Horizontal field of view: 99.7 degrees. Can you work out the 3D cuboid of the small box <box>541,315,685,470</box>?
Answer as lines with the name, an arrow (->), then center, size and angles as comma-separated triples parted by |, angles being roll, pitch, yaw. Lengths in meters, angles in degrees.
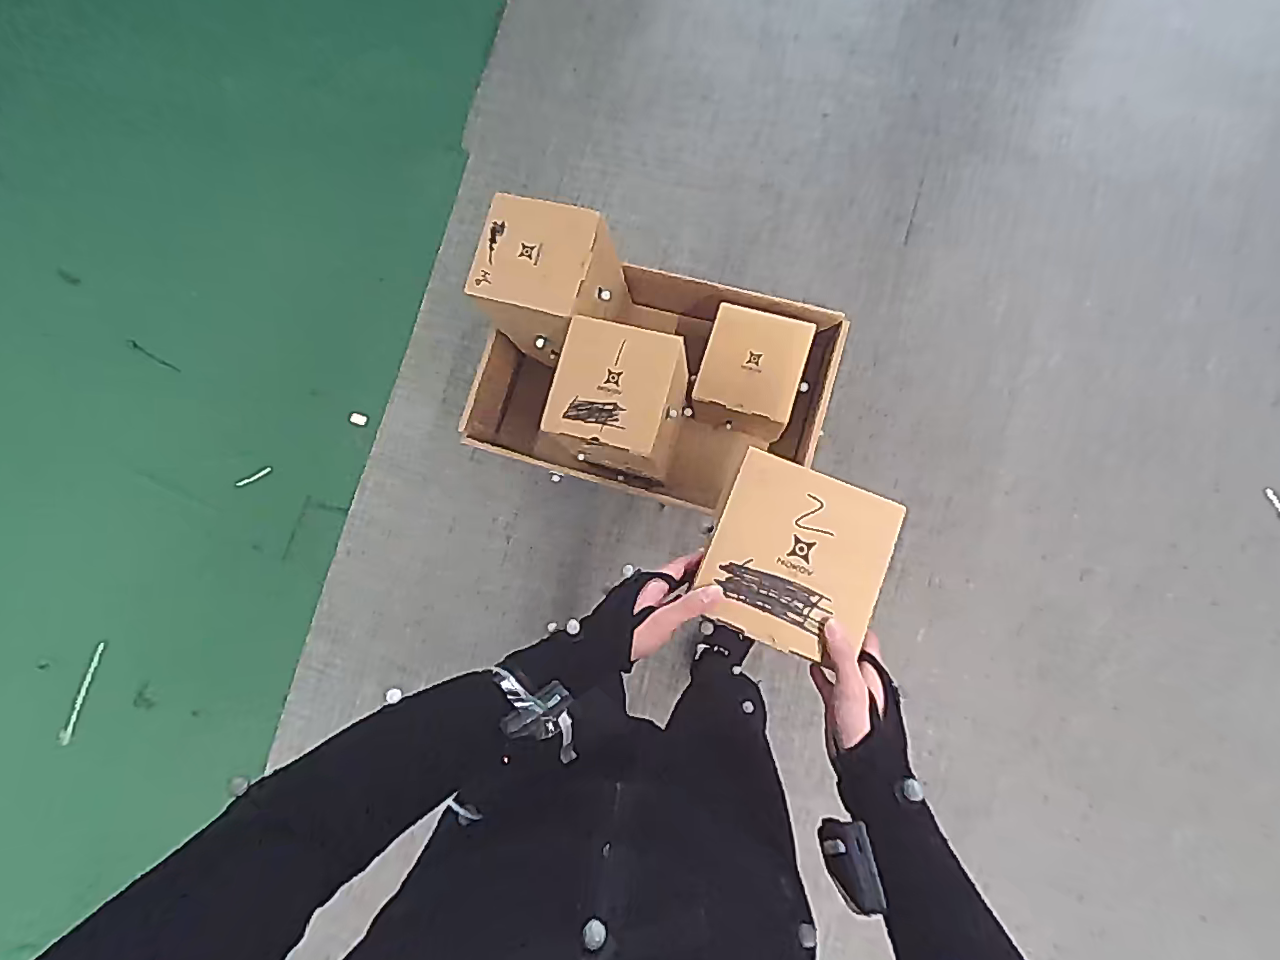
small box -> -0.030, -0.123, 0.832 | 0.168, 0.176, 0.179 | 15, 84, 9

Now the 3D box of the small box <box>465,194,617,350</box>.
small box -> -0.147, -0.321, 0.875 | 0.179, 0.176, 0.168 | 16, 86, 8
